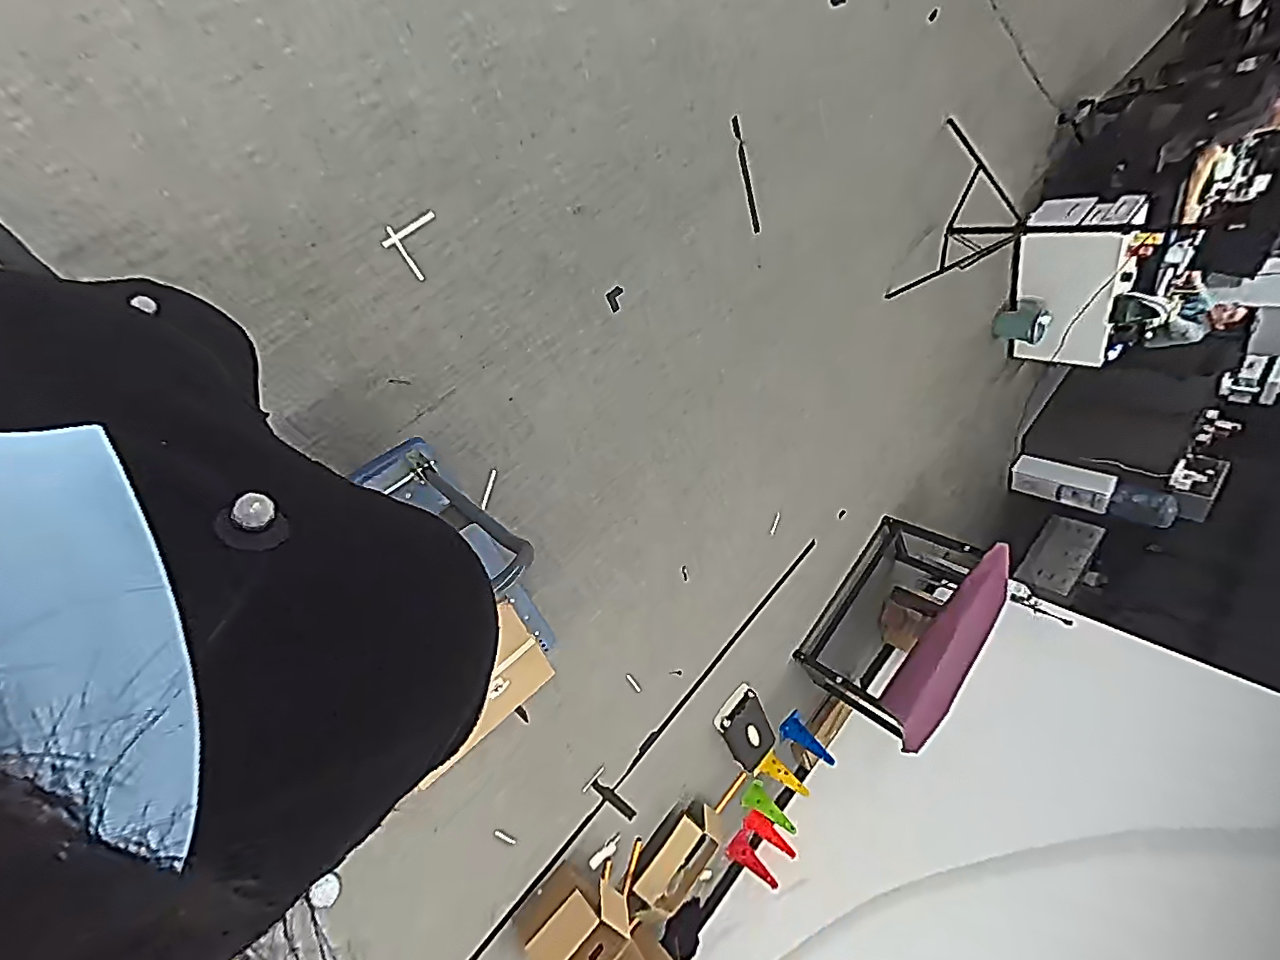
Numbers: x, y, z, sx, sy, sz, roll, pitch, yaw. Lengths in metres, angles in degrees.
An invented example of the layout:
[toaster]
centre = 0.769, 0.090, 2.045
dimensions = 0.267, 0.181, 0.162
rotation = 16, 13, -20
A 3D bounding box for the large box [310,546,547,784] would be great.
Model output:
[large box]
centre = -0.521, 0.441, 1.360
dimensions = 0.408, 0.320, 0.320
rotation = -38, 129, -25
